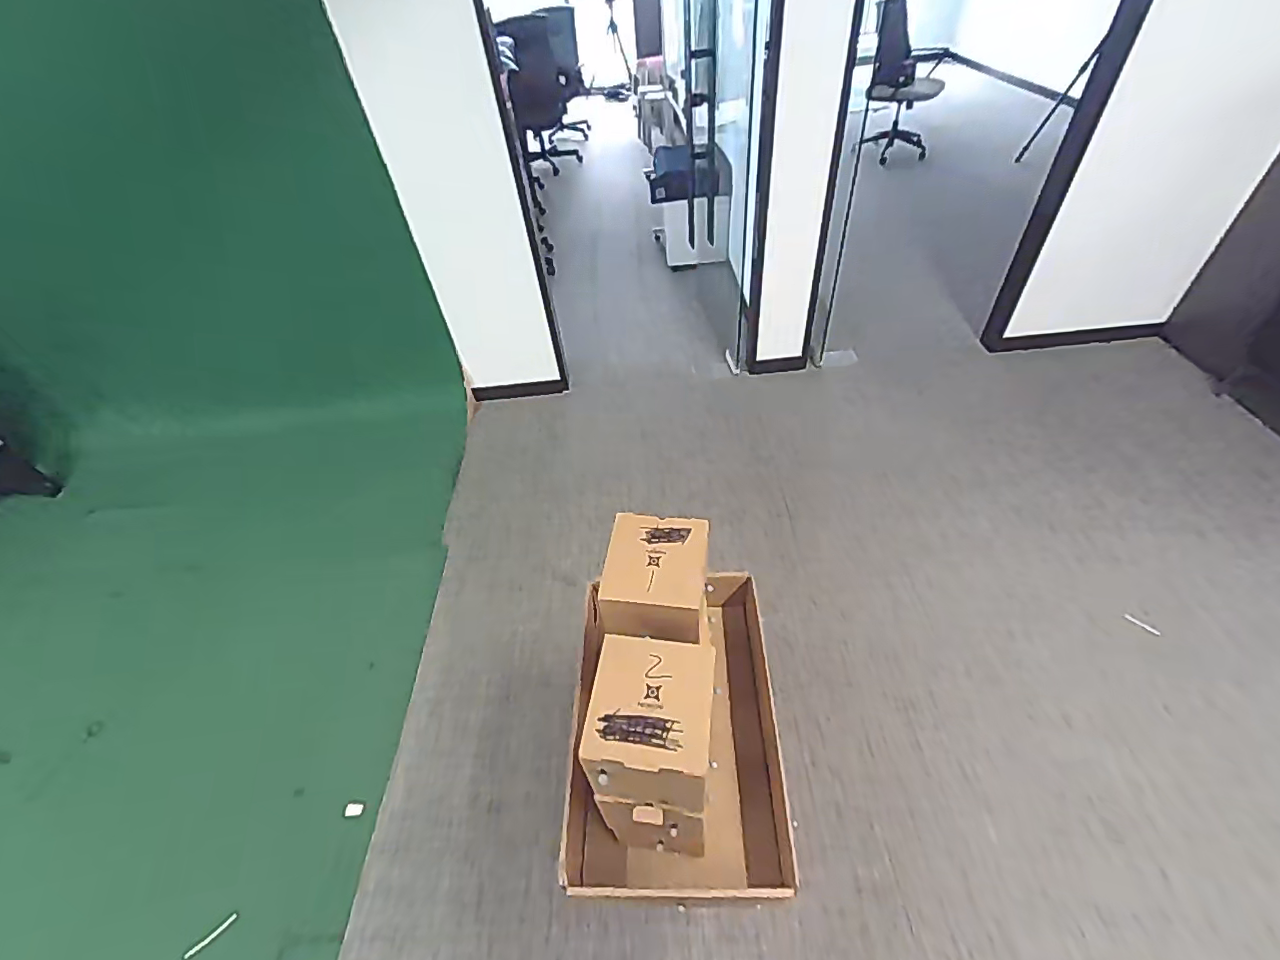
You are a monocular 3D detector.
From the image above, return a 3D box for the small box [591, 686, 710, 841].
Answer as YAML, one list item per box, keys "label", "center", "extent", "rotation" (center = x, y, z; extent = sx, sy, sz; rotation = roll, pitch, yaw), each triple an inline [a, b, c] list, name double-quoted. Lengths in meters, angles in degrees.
- label: "small box"
  center: [0.027, 0.472, 0.896]
  extent: [0.168, 0.176, 0.179]
  rotation: [5, 45, 10]

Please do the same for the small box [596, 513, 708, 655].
- label: "small box"
  center: [0.029, 0.183, 0.953]
  extent: [0.168, 0.176, 0.179]
  rotation: [4, 49, 10]

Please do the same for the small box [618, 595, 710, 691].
- label: "small box"
  center: [0.047, 0.298, 1.069]
  extent: [0.168, 0.176, 0.179]
  rotation: [-3, 47, 3]
